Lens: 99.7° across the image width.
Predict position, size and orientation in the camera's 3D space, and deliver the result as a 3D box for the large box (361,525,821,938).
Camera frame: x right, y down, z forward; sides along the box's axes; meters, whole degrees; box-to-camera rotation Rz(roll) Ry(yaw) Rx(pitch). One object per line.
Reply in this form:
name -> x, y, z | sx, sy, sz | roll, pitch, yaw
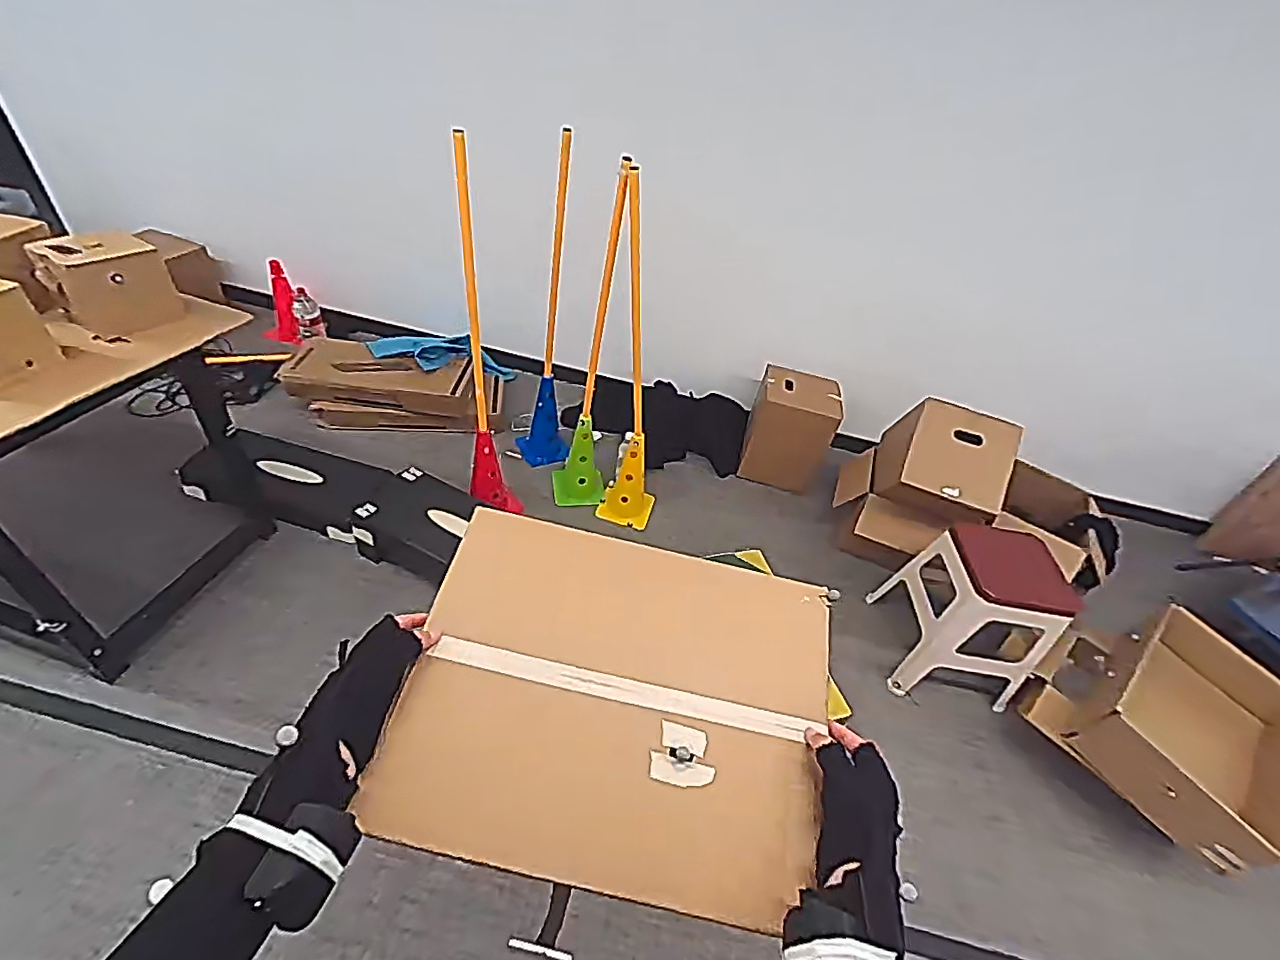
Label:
large box -> -0.035, 0.297, 0.658 | 0.408, 0.320, 0.320 | 14, 57, 1
